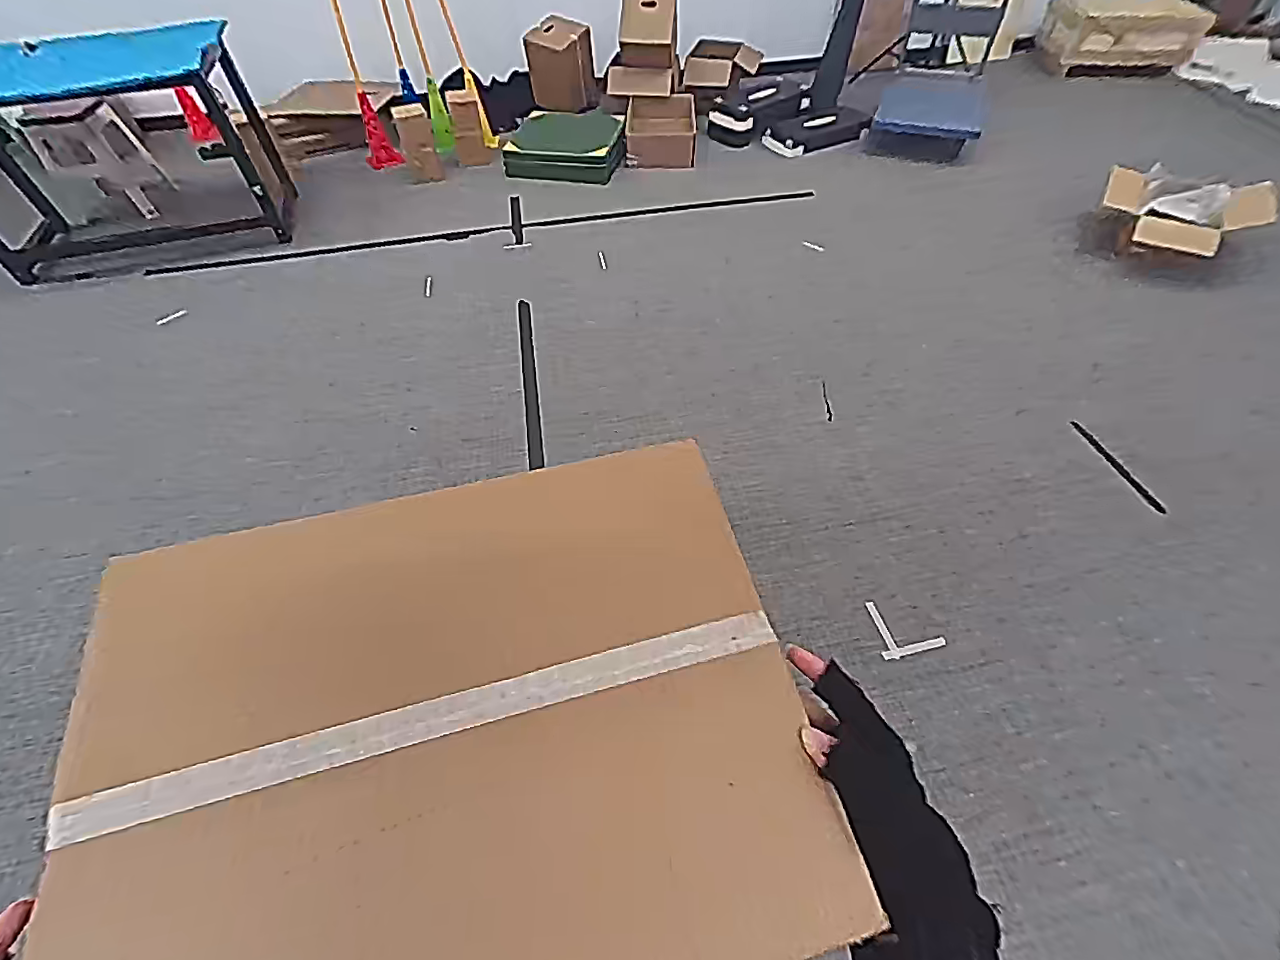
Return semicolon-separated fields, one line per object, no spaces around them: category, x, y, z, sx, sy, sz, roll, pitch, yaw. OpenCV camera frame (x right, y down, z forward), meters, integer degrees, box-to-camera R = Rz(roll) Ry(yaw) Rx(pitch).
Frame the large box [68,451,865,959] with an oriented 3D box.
large box;-0.112;0.221;0.457;0.408;0.320;0.320;-12;61;-10
